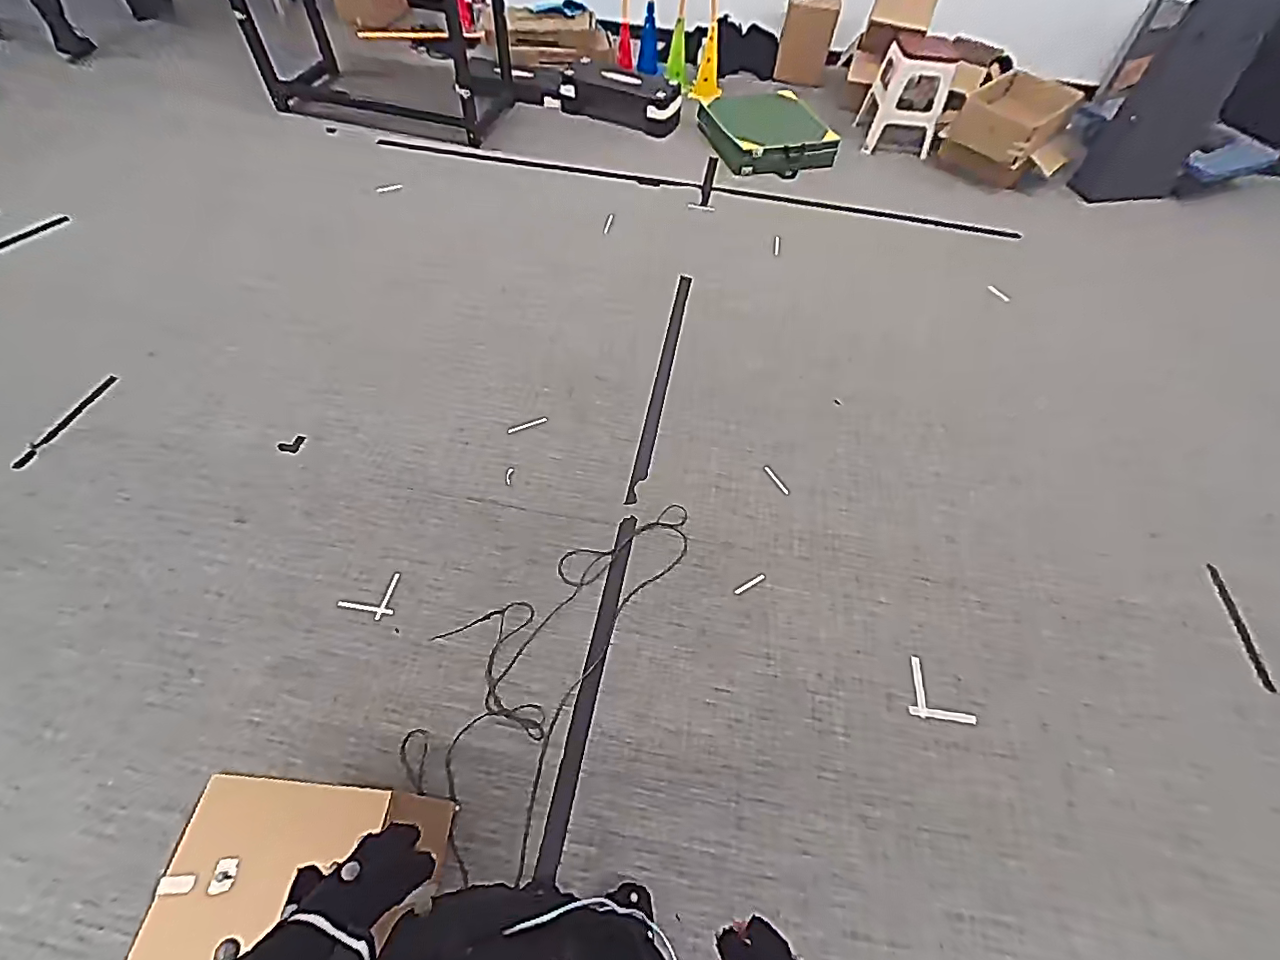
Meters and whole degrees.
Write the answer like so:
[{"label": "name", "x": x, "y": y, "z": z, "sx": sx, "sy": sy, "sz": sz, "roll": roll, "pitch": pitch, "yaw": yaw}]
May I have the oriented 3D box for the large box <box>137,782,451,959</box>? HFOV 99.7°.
[{"label": "large box", "x": -0.587, "y": 0.748, "z": 0.990, "sx": 0.320, "sy": 0.408, "sz": 0.320, "roll": 6, "pitch": 57, "yaw": 2}]
